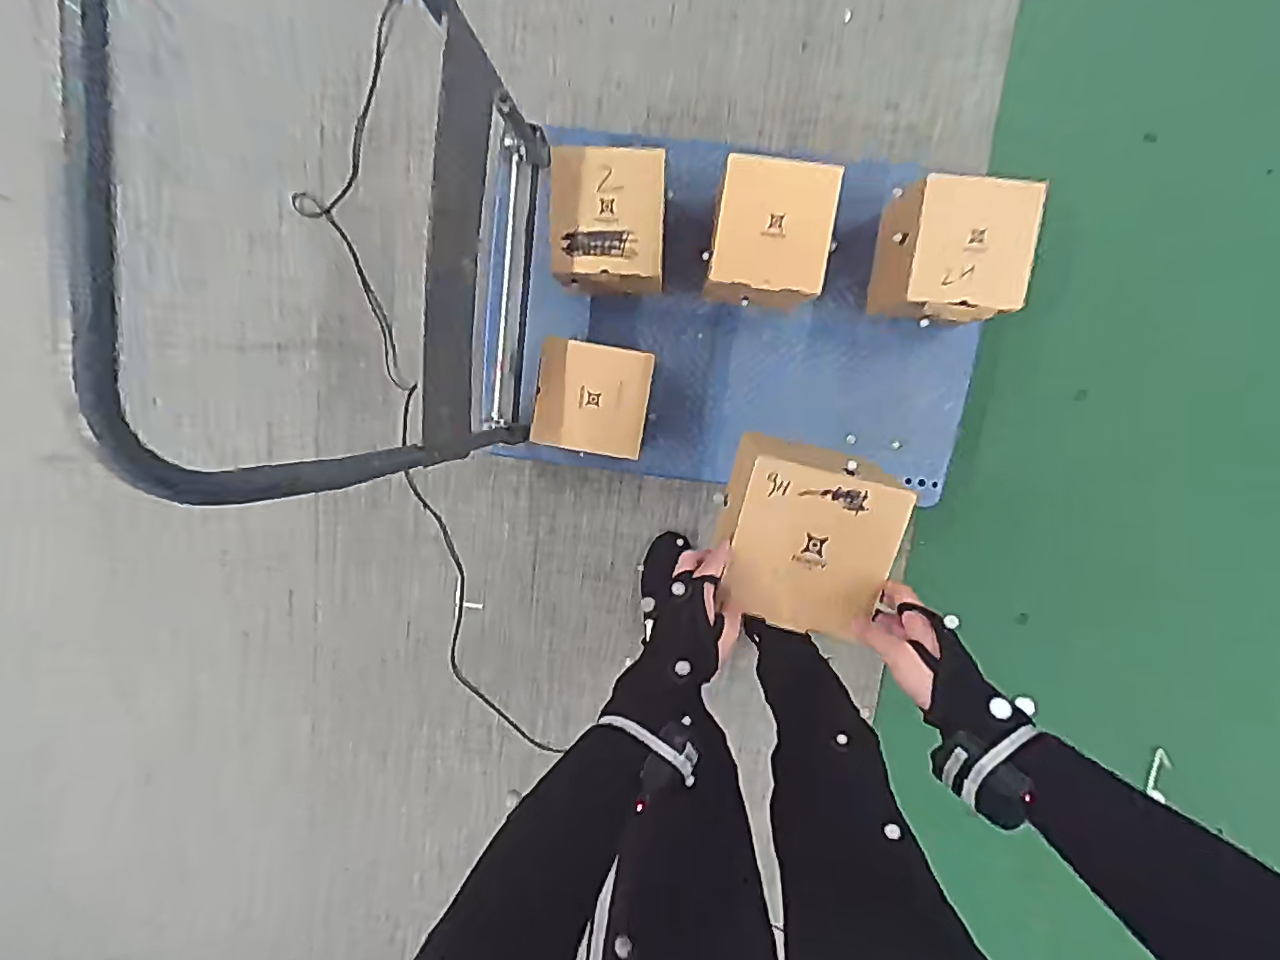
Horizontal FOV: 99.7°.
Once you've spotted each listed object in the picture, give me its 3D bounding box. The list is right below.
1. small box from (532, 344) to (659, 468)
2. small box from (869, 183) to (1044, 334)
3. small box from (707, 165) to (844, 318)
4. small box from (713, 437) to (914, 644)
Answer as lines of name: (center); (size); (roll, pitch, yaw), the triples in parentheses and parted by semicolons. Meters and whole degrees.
small box: (-0.067, -0.124, 0.908); (0.179, 0.176, 0.168); (10, 99, 0)
small box: (0.480, -0.336, 0.851); (0.168, 0.176, 0.179); (7, 99, 3)
small box: (0.203, -0.367, 0.861); (0.168, 0.176, 0.179); (7, 100, 1)
small box: (0.189, 0.060, 0.648); (0.168, 0.176, 0.179); (15, 104, 2)
